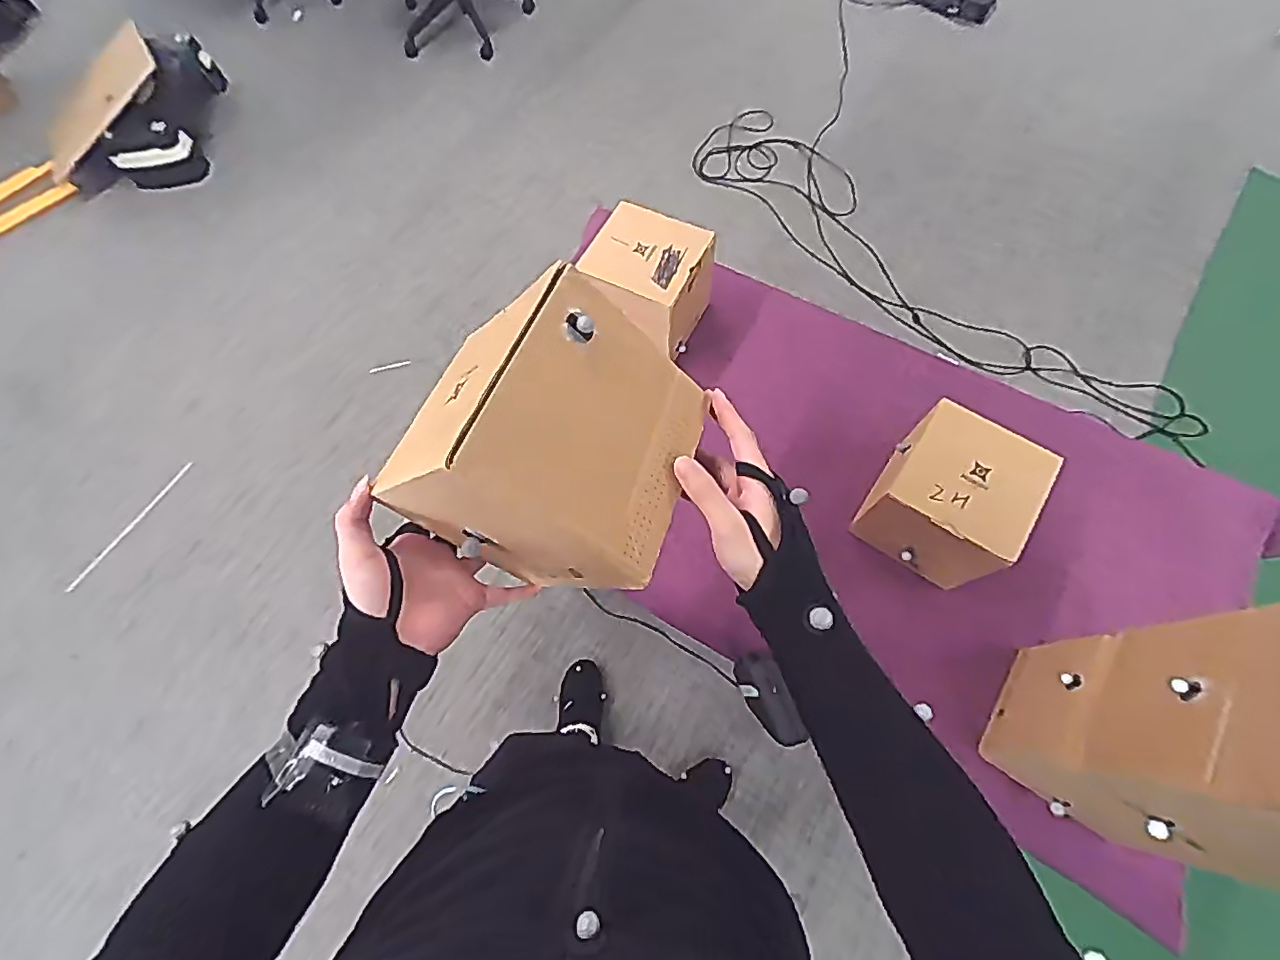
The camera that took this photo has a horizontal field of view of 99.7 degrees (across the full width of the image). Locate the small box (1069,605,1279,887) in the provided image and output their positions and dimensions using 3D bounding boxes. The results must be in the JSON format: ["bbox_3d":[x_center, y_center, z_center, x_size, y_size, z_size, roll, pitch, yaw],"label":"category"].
[{"bbox_3d":[0.554,0.246,0.502,0.168,0.176,0.179,33,72,16],"label":"small box"}]

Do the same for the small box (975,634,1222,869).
[{"bbox_3d":[0.558,0.310,0.652,0.179,0.176,0.168,33,72,14],"label":"small box"}]

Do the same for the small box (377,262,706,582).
[{"bbox_3d":[-0.071,-0.028,0.439,0.176,0.168,0.179,38,60,-30],"label":"small box"}]

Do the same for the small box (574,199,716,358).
[{"bbox_3d":[0.013,-0.336,0.932,0.179,0.176,0.168,26,72,12],"label":"small box"}]

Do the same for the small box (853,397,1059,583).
[{"bbox_3d":[0.435,0.021,0.774,0.168,0.176,0.179,34,74,15],"label":"small box"}]
